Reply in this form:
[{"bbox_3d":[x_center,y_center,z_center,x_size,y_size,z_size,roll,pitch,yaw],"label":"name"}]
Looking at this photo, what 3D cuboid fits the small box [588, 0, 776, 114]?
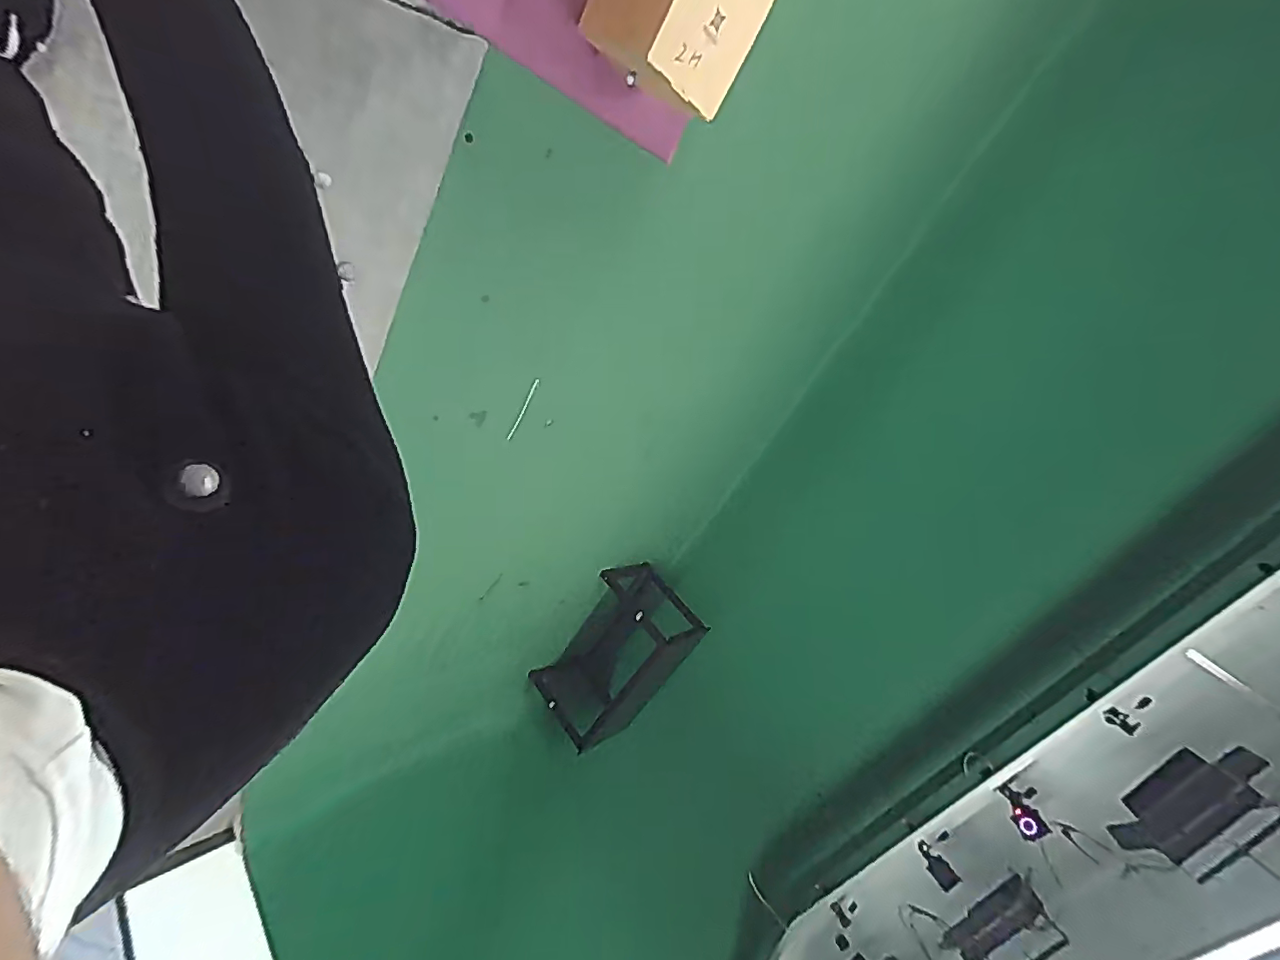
[{"bbox_3d":[0.055,-0.669,0.757,0.168,0.176,0.179,0,130,-52],"label":"small box"}]
